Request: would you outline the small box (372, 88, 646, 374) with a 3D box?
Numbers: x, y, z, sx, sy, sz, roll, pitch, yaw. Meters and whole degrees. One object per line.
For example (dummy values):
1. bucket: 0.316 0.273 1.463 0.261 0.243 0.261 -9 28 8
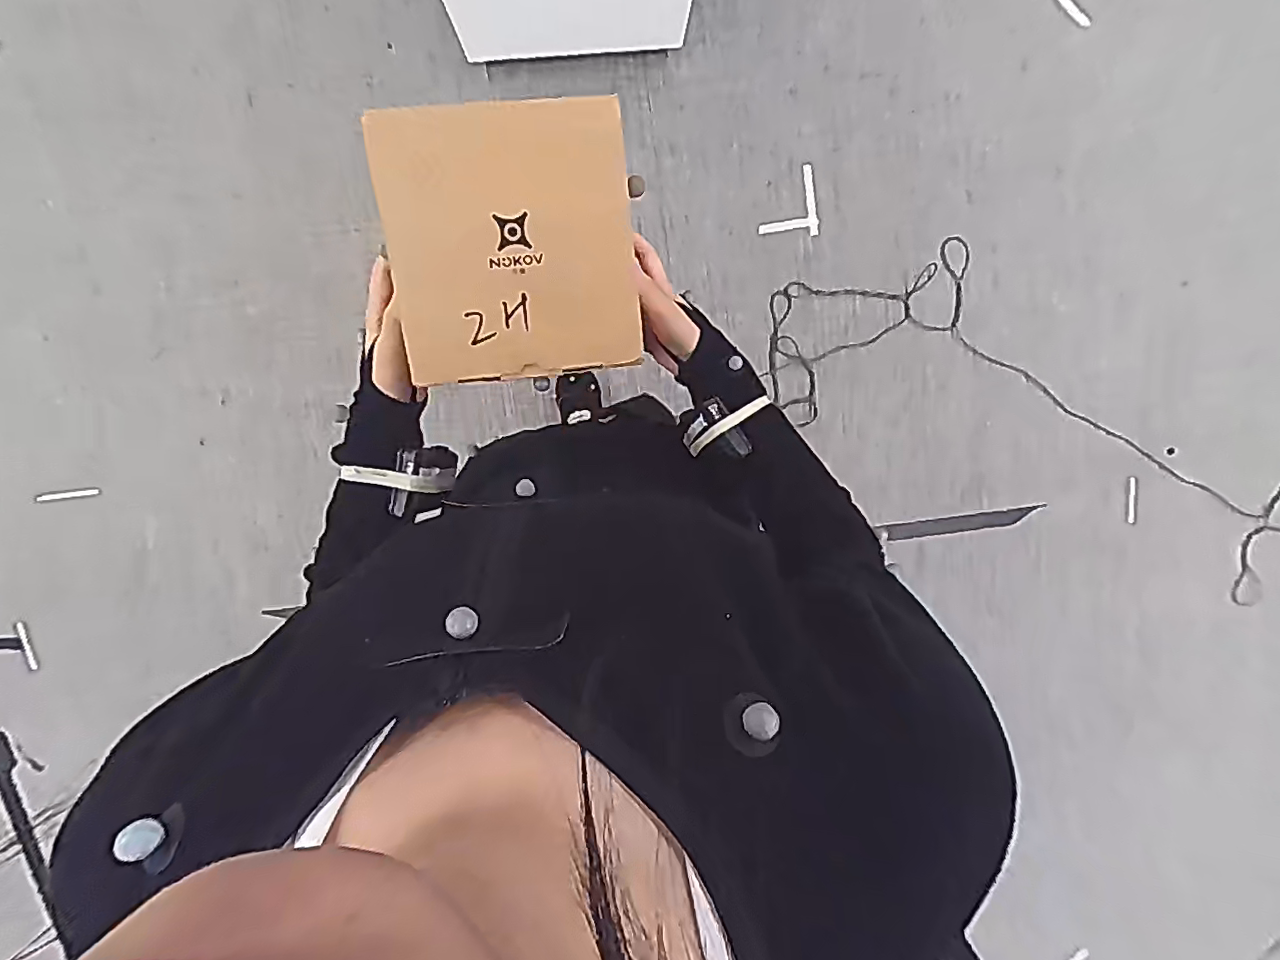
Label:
1. small box: -0.092 -0.182 0.443 0.168 0.176 0.179 -7 103 -5
